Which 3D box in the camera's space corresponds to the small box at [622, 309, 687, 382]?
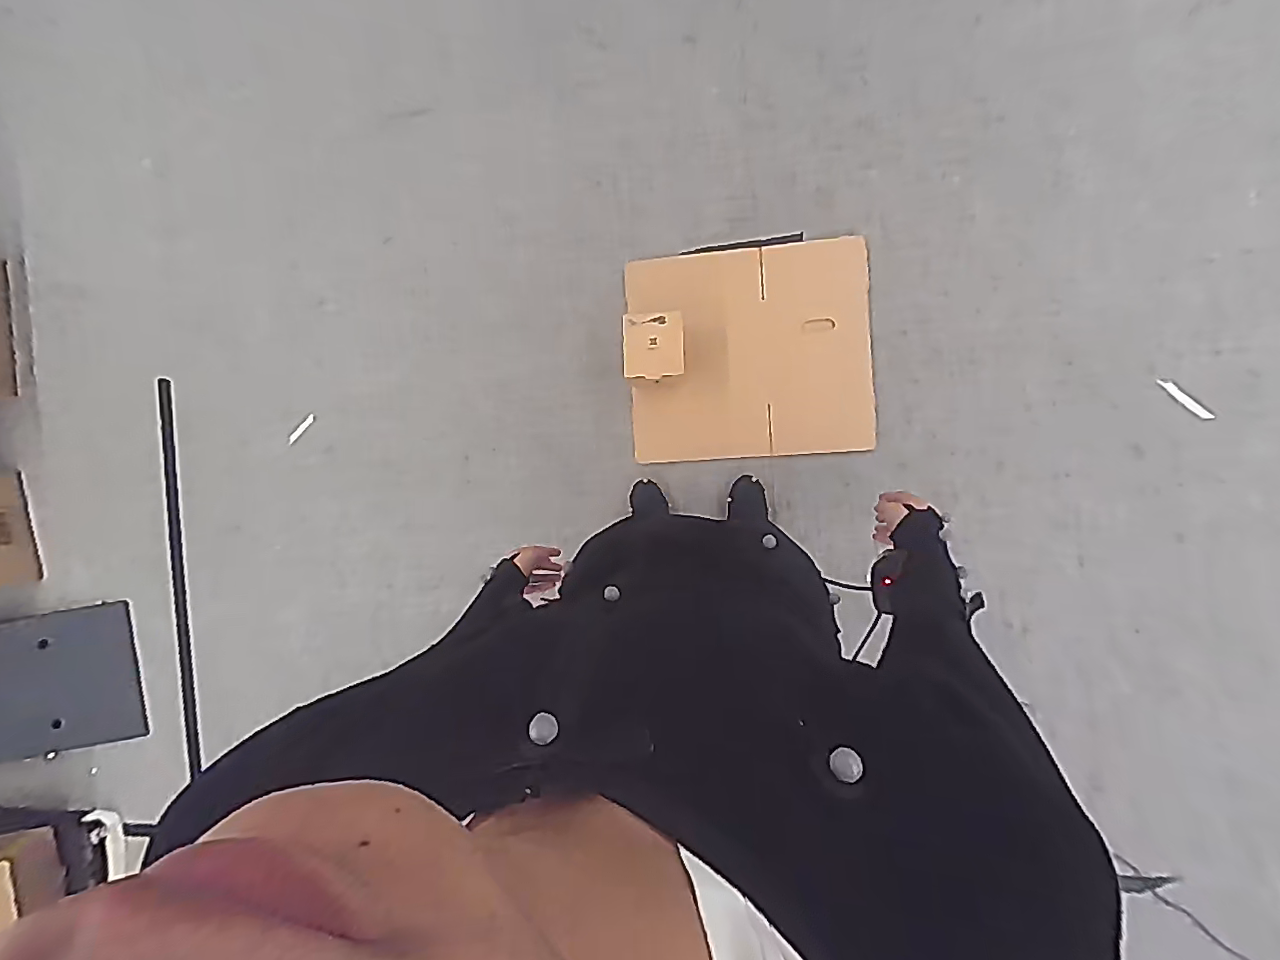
[{"bbox_3d":[0.046,-0.370,1.523,0.168,0.176,0.179,-1,93,9],"label":"small box"}]
